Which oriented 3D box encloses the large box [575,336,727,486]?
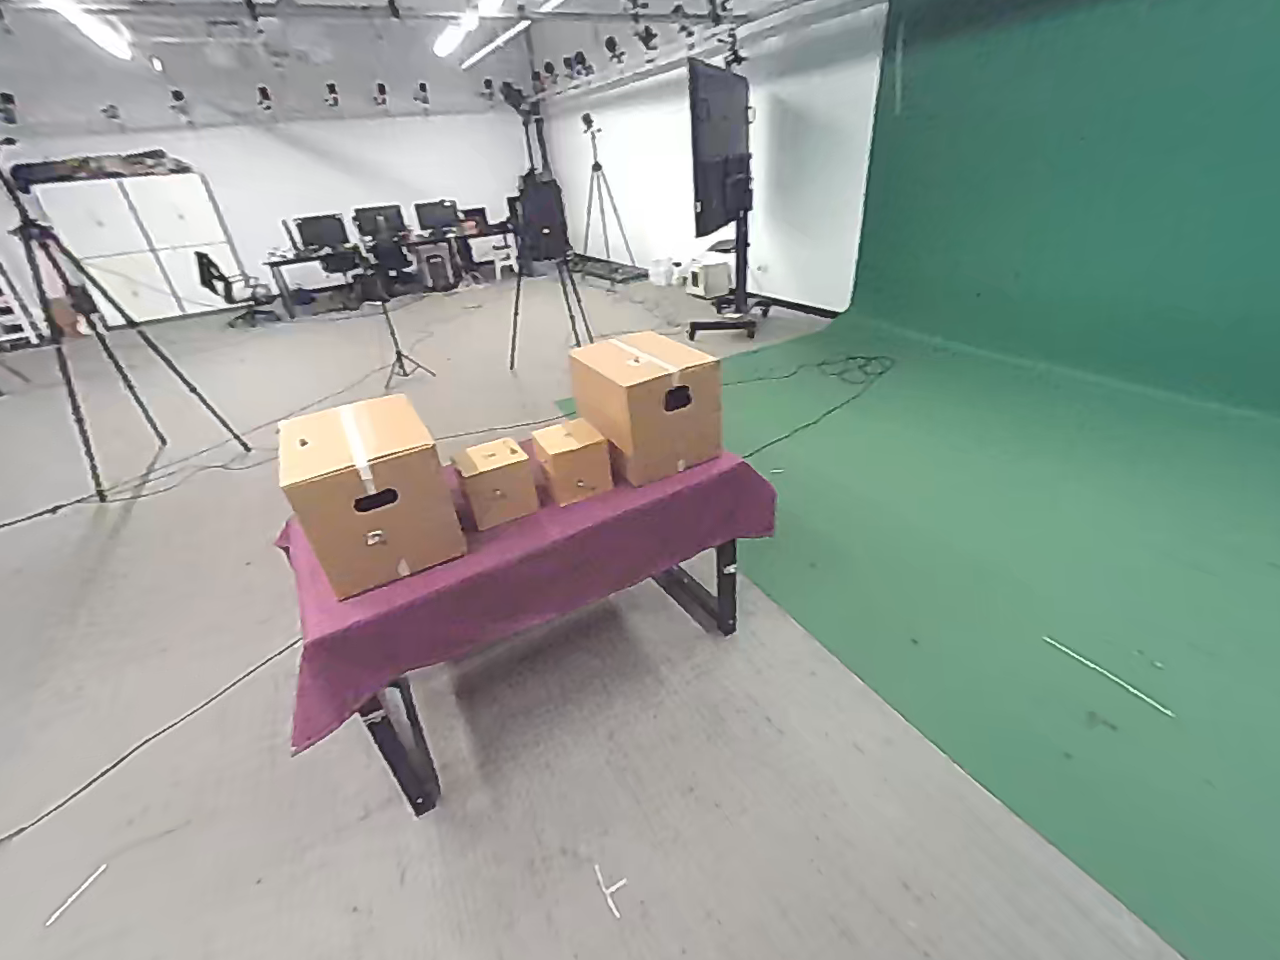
[{"bbox_3d":[0.027,-0.232,1.696,0.320,0.320,0.408,-20,34,-22],"label":"large box"}]
